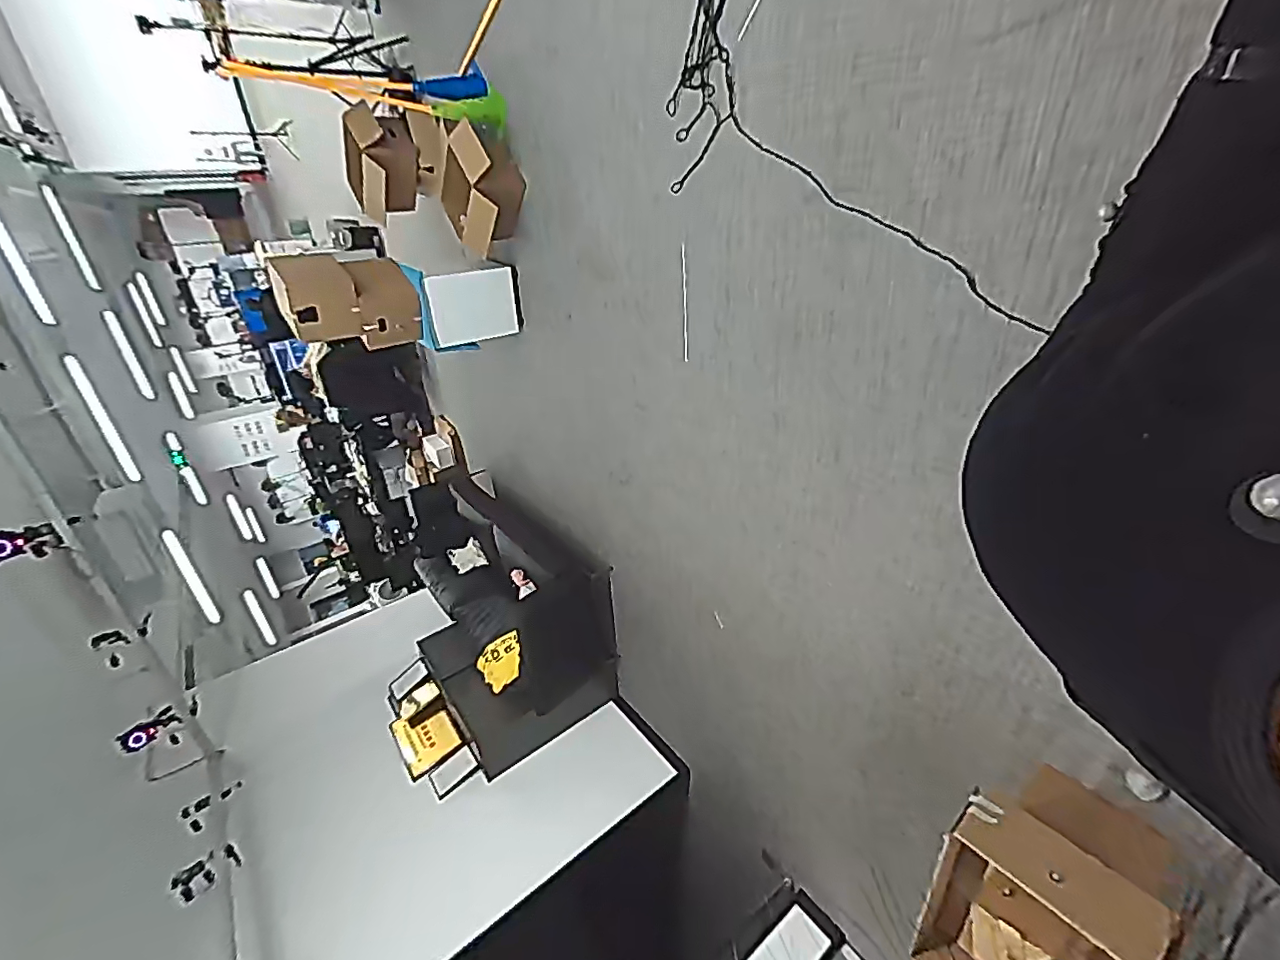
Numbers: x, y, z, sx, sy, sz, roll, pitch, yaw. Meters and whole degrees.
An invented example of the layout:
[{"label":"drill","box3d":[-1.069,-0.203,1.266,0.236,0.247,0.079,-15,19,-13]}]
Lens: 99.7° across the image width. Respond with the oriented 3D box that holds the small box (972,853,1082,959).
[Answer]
[{"label":"small box","box3d":[0.908,1.039,1.270,0.168,0.176,0.179,11,118,54]}]
